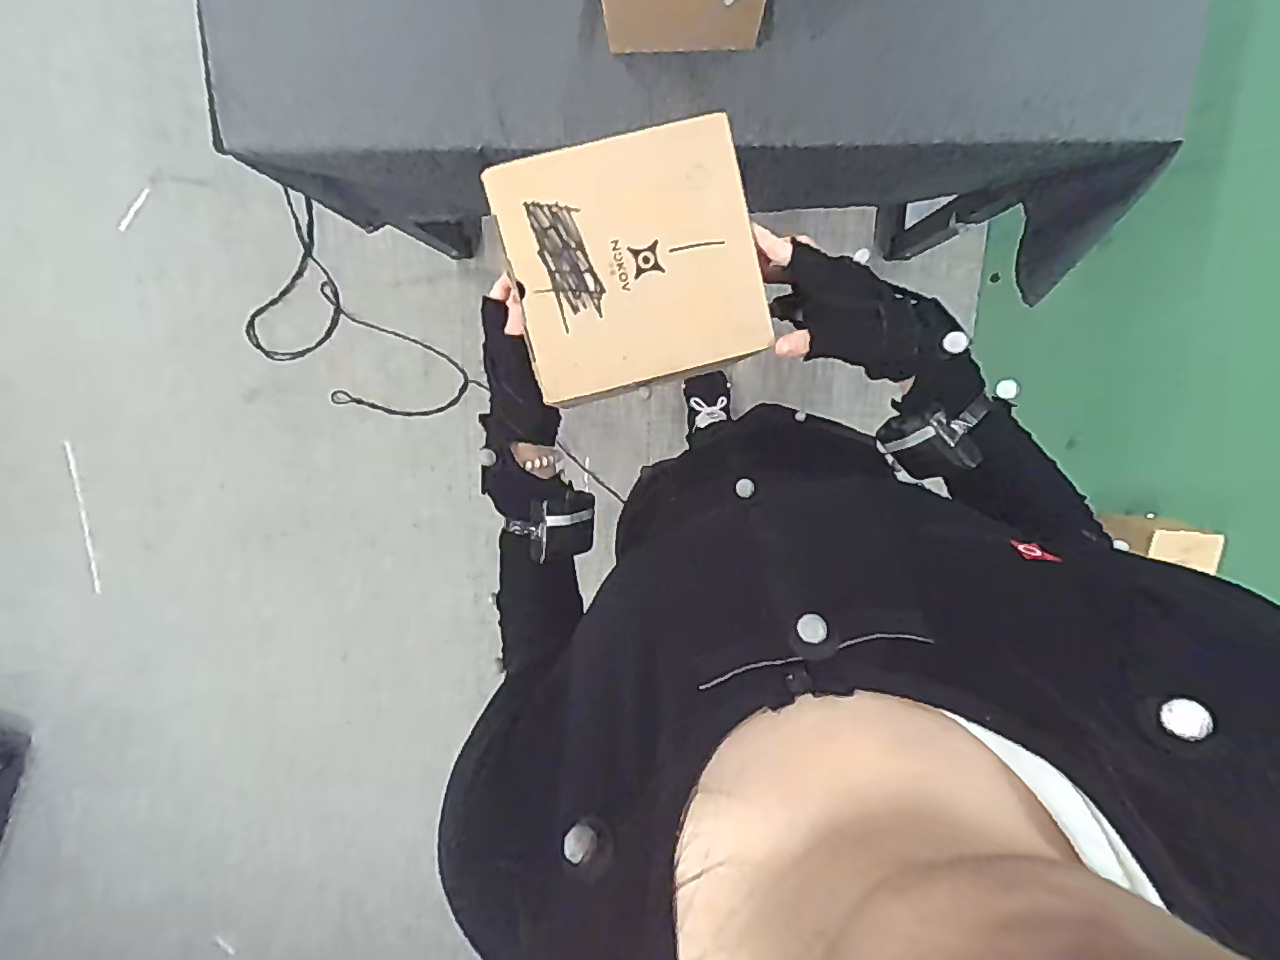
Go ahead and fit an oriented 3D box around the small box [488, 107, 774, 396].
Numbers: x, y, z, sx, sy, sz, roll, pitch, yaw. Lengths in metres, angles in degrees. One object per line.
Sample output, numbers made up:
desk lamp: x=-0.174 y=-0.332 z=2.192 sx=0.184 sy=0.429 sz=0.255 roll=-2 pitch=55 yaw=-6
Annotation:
small box: x=-0.009 y=-0.170 z=0.460 sx=0.179 sy=0.176 sz=0.168 roll=-14 pitch=98 yaw=-3
